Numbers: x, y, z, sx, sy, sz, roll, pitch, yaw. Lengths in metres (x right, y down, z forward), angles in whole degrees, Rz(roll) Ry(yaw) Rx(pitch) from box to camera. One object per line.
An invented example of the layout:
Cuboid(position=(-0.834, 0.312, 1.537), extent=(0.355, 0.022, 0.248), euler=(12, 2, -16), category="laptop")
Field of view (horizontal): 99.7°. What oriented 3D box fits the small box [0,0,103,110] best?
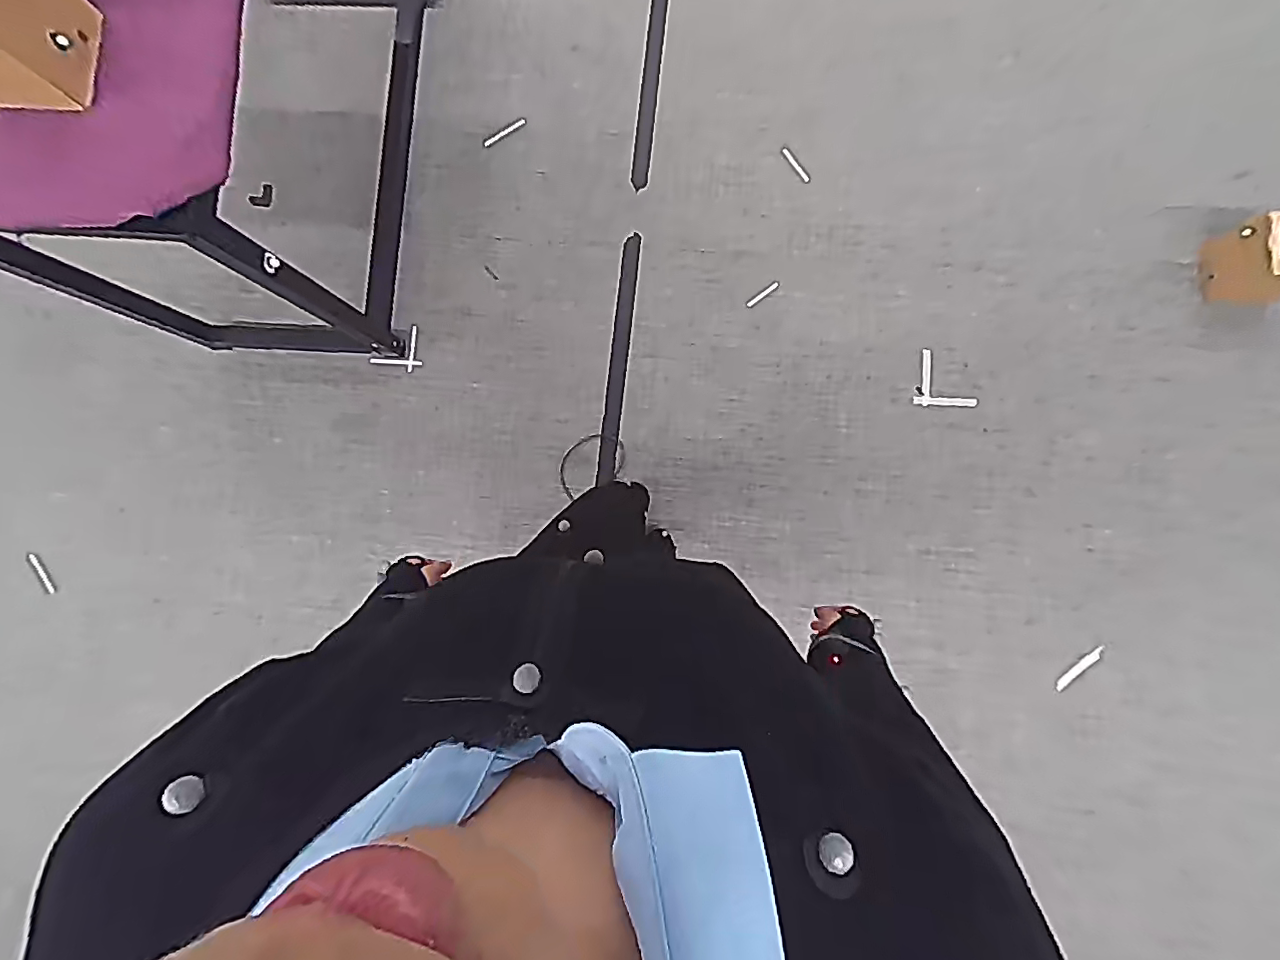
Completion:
Cuboid(position=(-0.958, -0.675, 0.786), extent=(0.179, 0.176, 0.168), euler=(3, 85, 1), category="small box")
